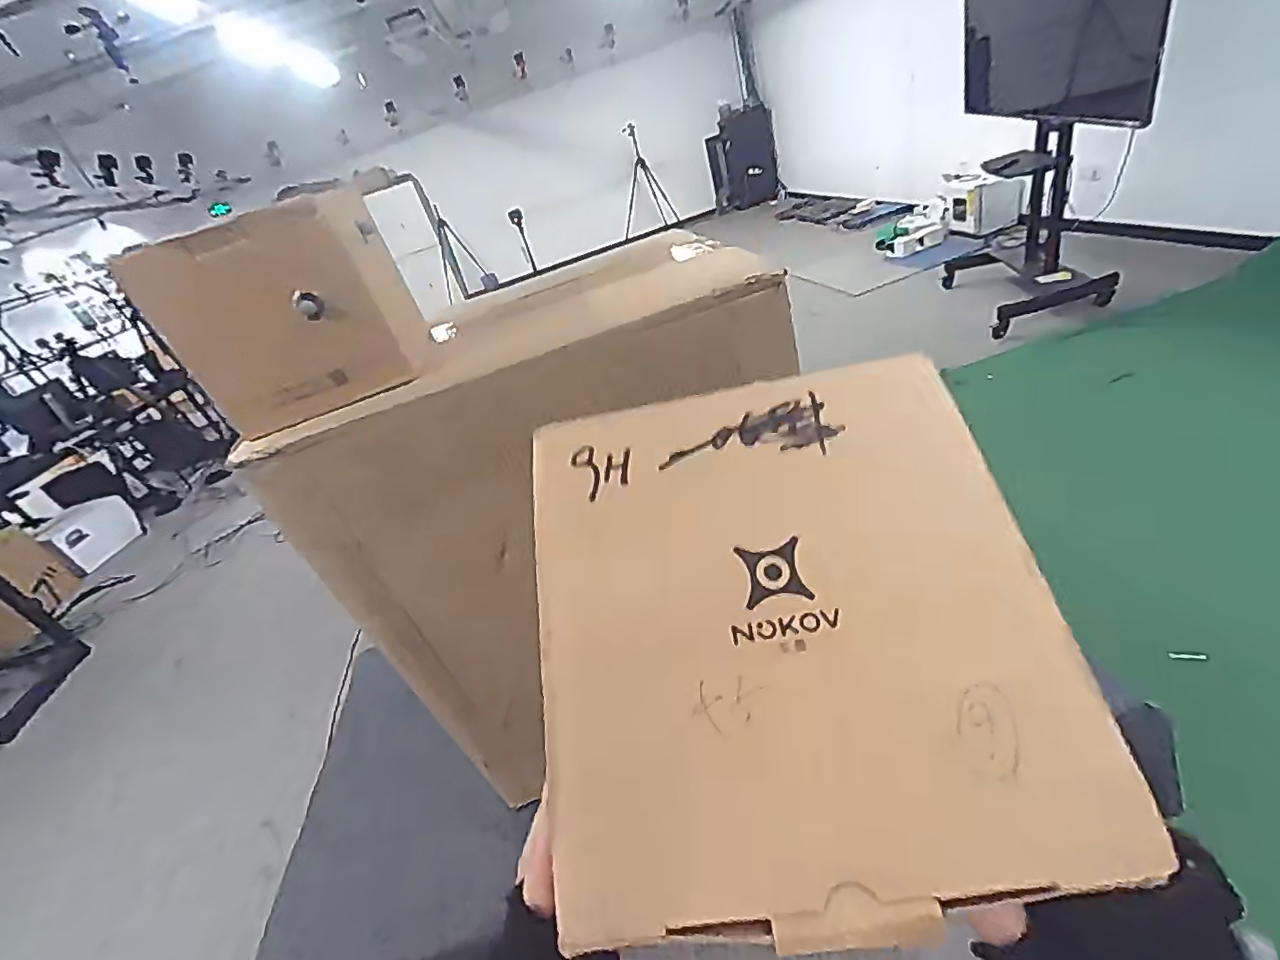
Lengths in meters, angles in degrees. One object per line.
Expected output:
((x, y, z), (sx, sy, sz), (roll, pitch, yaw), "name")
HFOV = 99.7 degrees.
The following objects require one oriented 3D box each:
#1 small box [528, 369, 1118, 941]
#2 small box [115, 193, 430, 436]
((0.054, 0.079, 0.261), (0.168, 0.176, 0.179), (-10, 64, 4), "small box")
((-0.324, -0.161, 0.529), (0.168, 0.176, 0.179), (-21, 32, -4), "small box")
